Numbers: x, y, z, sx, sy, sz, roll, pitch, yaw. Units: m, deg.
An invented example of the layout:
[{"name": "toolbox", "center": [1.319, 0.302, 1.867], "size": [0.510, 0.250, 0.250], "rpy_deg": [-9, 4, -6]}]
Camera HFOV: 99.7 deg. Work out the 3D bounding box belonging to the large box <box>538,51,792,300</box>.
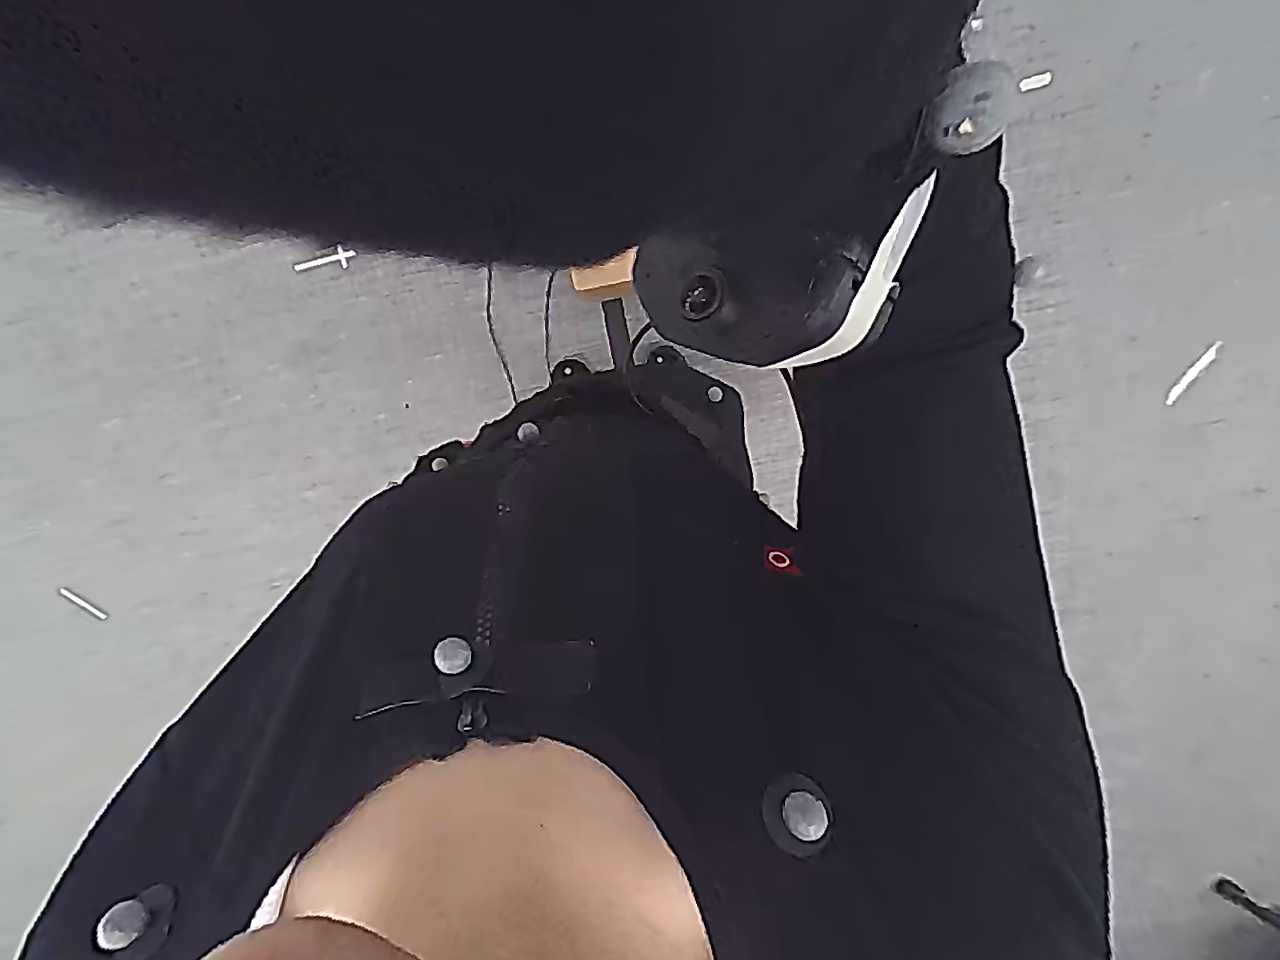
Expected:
[{"name": "large box", "center": [0.050, -0.567, 1.087], "size": [0.408, 0.320, 0.320], "rpy_deg": [-11, 104, 3]}]
